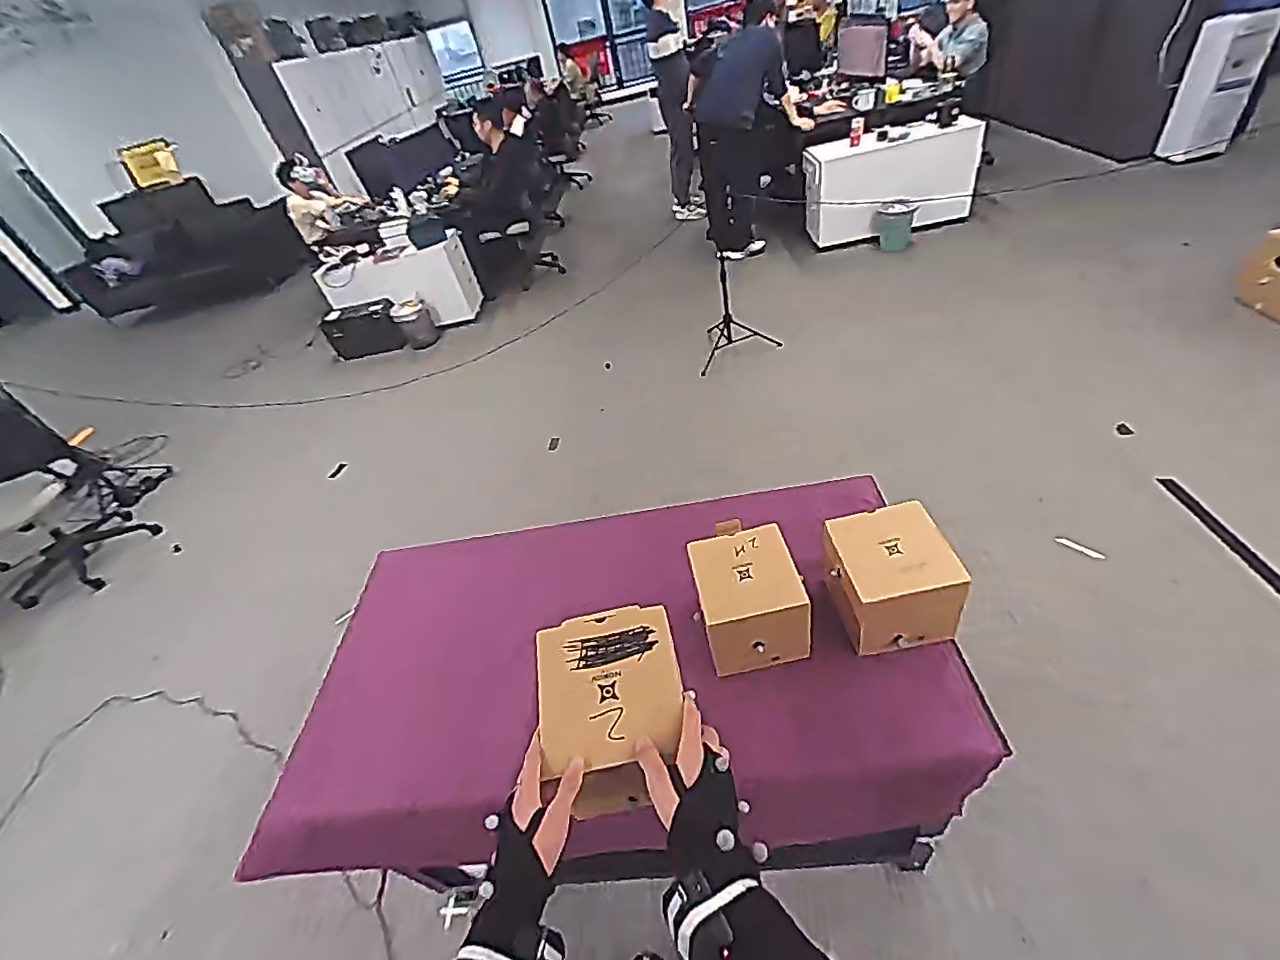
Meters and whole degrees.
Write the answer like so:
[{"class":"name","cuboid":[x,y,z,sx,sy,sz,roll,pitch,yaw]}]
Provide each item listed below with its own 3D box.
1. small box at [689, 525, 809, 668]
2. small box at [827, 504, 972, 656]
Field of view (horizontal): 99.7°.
[{"class":"small box","cuboid":[0.193,0.211,0.952,0.168,0.176,0.179,-13,41,3]},{"class":"small box","cuboid":[0.426,0.171,0.924,0.168,0.176,0.179,-13,41,5]}]
